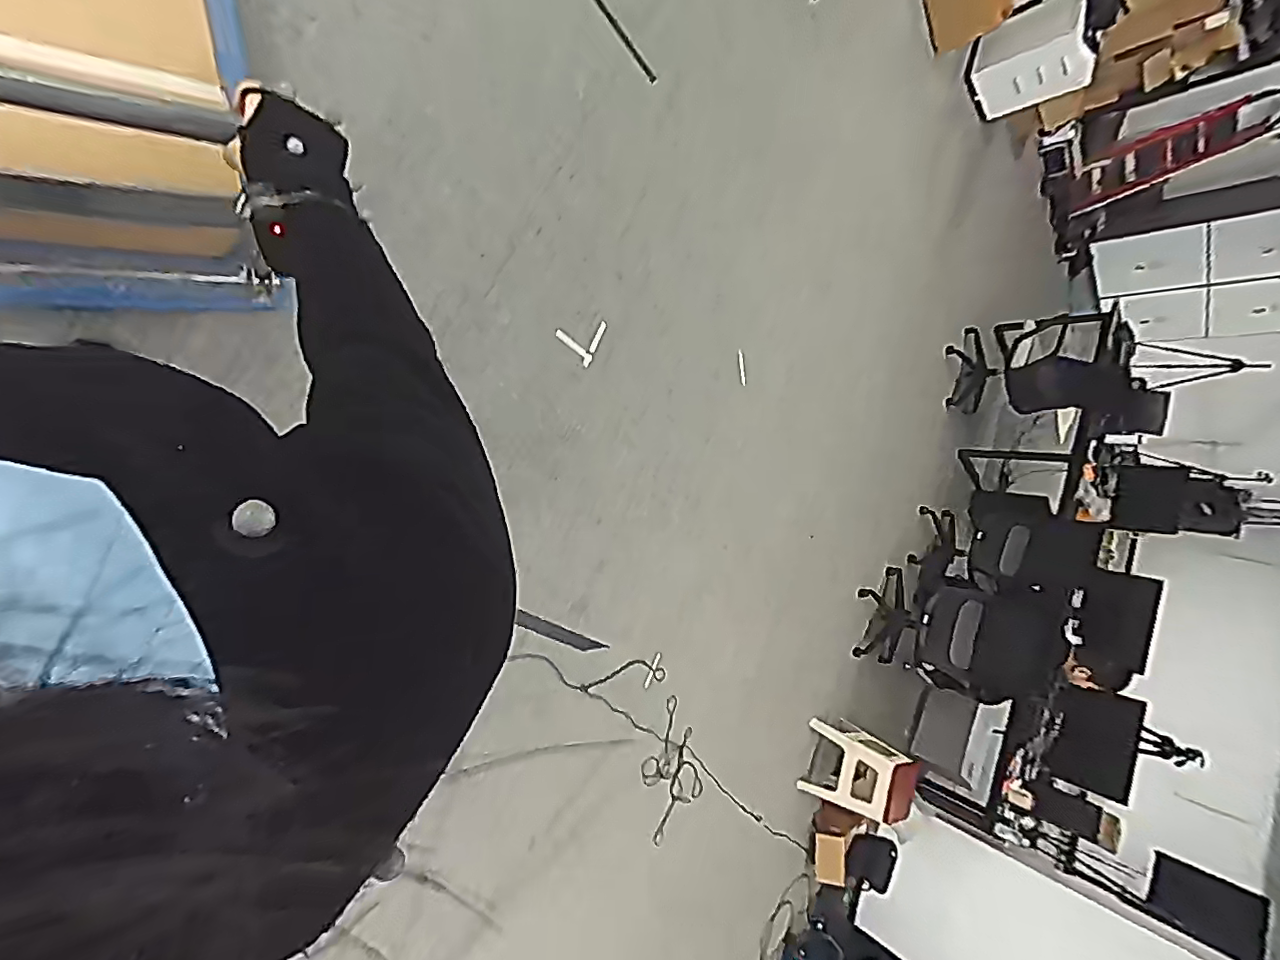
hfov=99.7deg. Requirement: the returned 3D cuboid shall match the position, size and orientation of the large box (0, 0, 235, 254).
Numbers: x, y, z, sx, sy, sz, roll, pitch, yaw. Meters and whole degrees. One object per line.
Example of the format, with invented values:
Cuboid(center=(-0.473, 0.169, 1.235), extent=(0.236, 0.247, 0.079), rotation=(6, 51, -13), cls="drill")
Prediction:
Cuboid(center=(-0.870, -0.531, 0.769), extent=(0.408, 0.320, 0.320), rotation=(-13, 104, -42), cls="large box")
